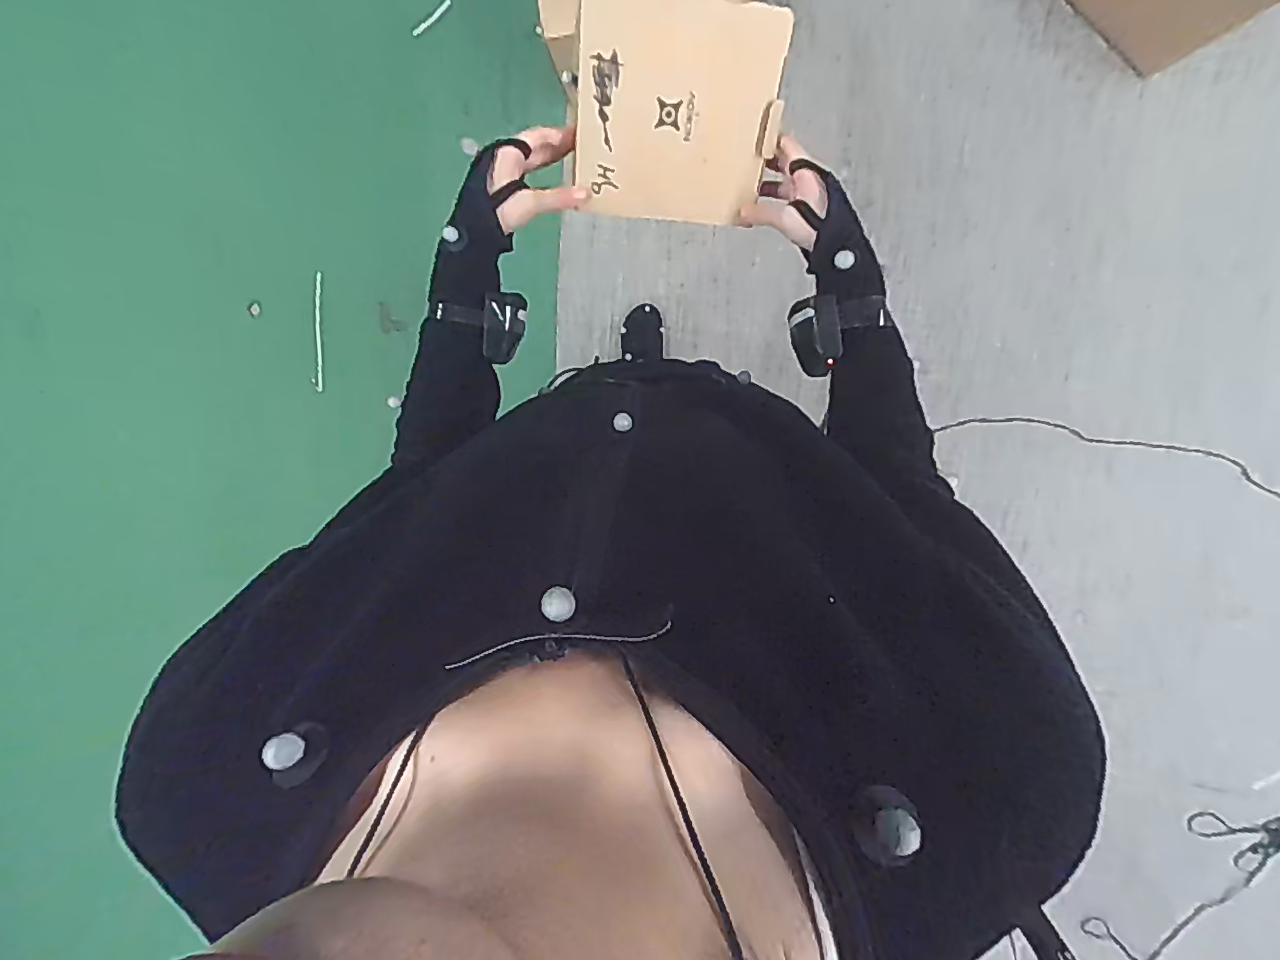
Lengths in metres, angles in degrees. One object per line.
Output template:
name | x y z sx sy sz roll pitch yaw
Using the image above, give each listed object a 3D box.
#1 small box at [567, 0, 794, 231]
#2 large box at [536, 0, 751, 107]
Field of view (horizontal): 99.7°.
small box | 0.022 -0.356 0.534 0.179 0.176 0.168 1 122 -10
large box | 0.002 -1.025 1.141 0.408 0.320 0.320 -7 100 6
